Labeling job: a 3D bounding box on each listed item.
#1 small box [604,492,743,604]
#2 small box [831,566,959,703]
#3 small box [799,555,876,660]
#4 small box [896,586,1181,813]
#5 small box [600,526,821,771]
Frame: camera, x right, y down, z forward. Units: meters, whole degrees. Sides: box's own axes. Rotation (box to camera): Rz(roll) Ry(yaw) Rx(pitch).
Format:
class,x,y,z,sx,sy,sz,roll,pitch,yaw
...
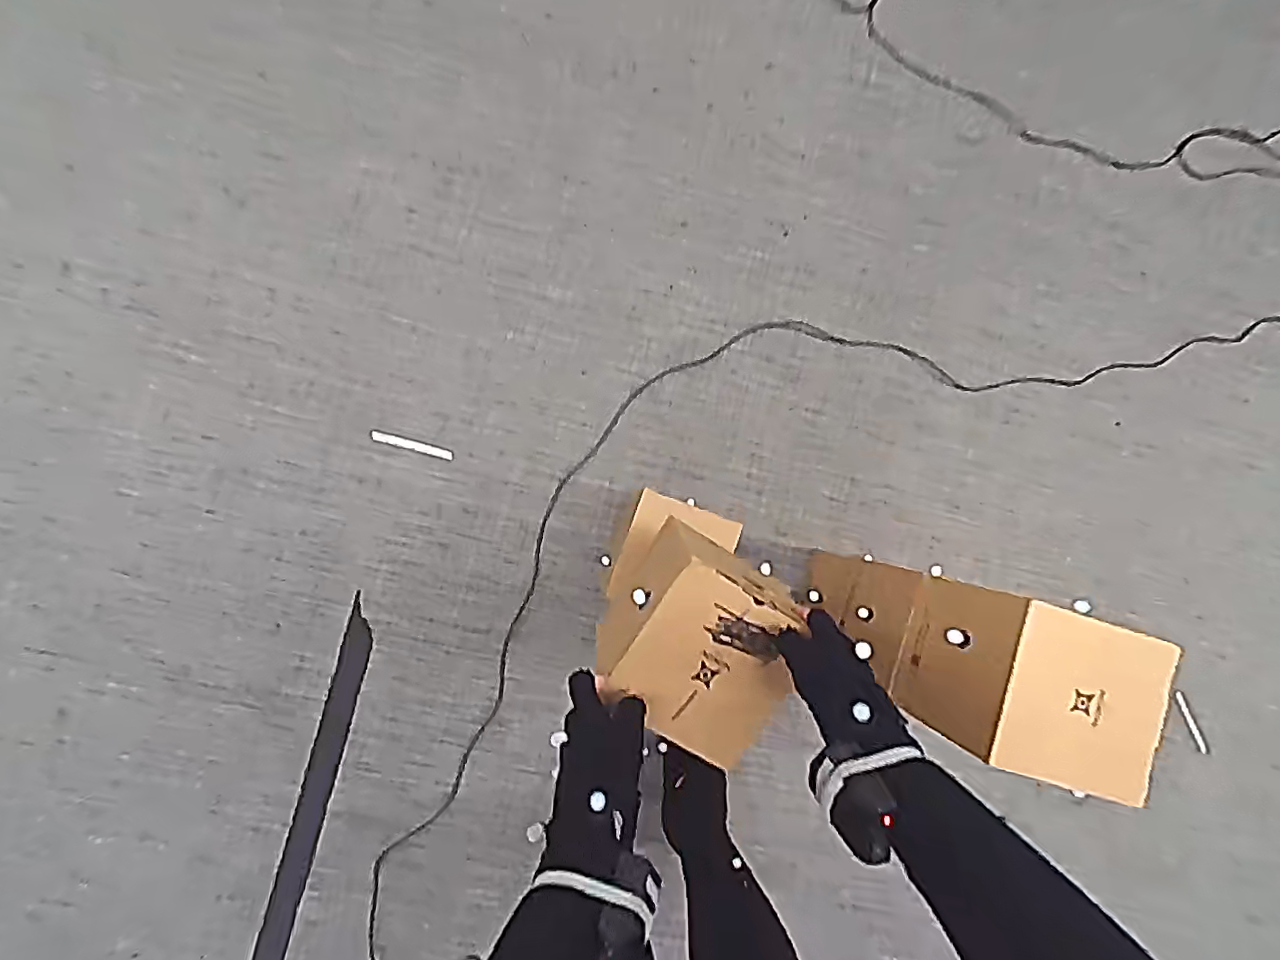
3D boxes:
class,x,y,z,sx,sy,sz,roll,pitch,yaw
small box,0.044,0.129,0.890,0.168,0.176,0.179,21,86,-6
small box,0.400,0.228,0.762,0.179,0.176,0.168,20,87,-7
small box,0.391,0.232,0.927,0.179,0.176,0.168,18,87,-6
small box,0.422,0.224,0.600,0.179,0.176,0.168,17,86,-7
small box,0.064,0.175,0.618,0.168,0.176,0.179,32,97,-8
